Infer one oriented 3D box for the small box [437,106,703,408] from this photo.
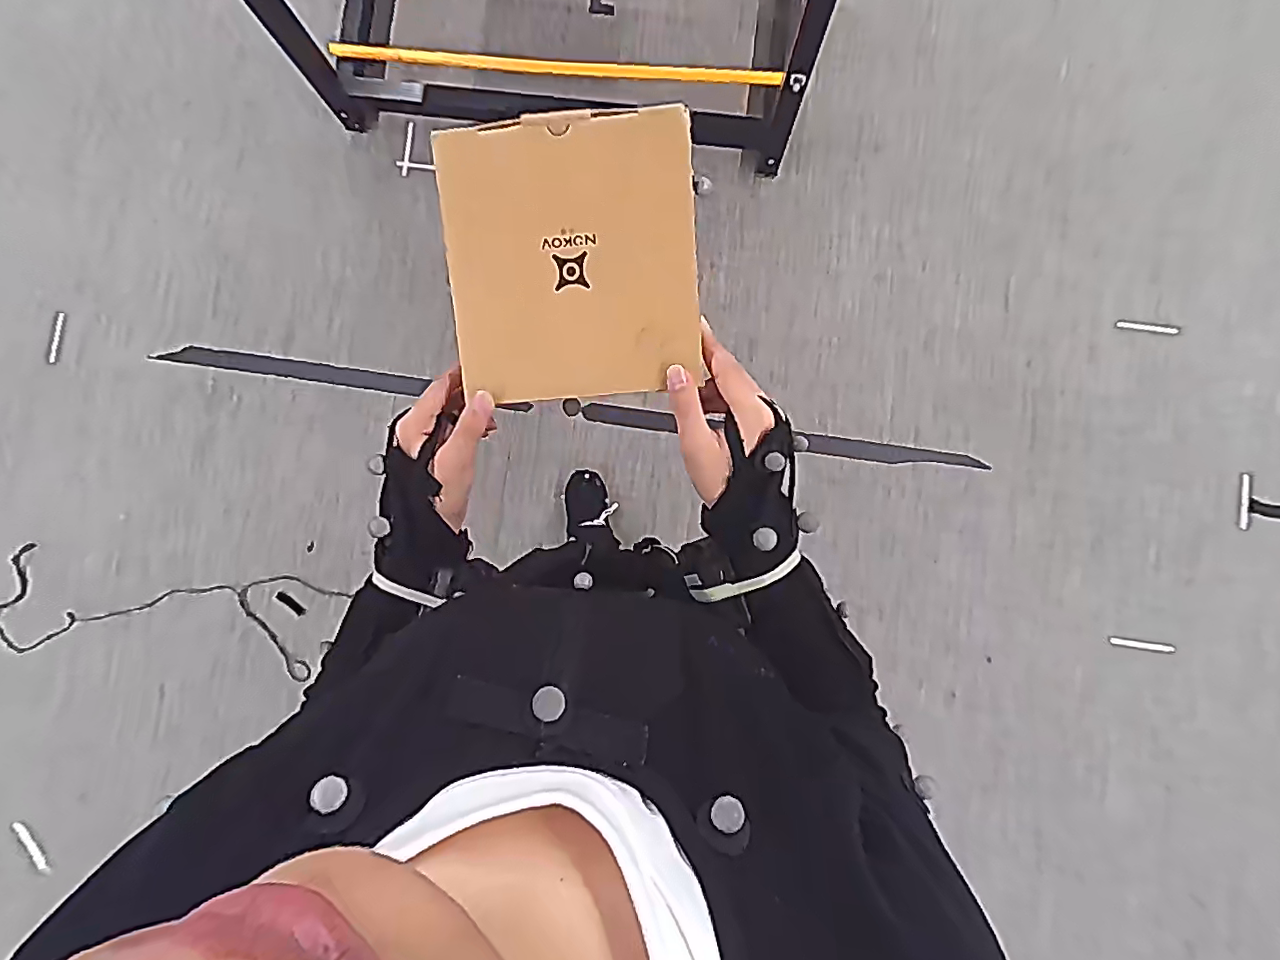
[{"bbox_3d":[-0.038,-0.156,0.433,0.168,0.176,0.179,-5,99,4],"label":"small box"}]
